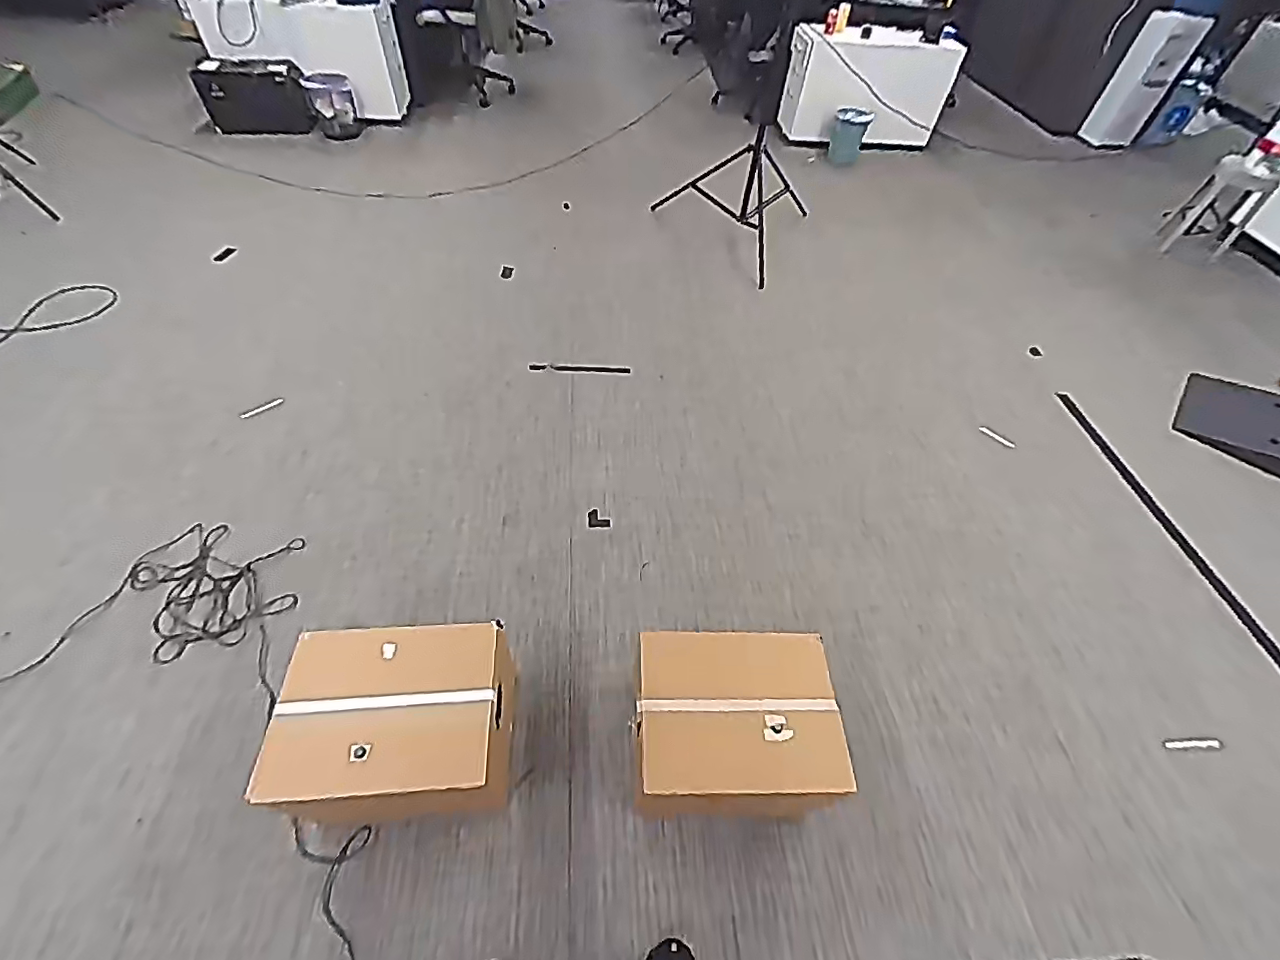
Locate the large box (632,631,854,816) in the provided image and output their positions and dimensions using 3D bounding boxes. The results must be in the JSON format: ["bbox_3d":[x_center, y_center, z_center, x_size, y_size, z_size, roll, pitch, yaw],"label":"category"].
[{"bbox_3d":[0.194,0.551,1.216,0.408,0.320,0.320,2,51,-4],"label":"large box"}]
